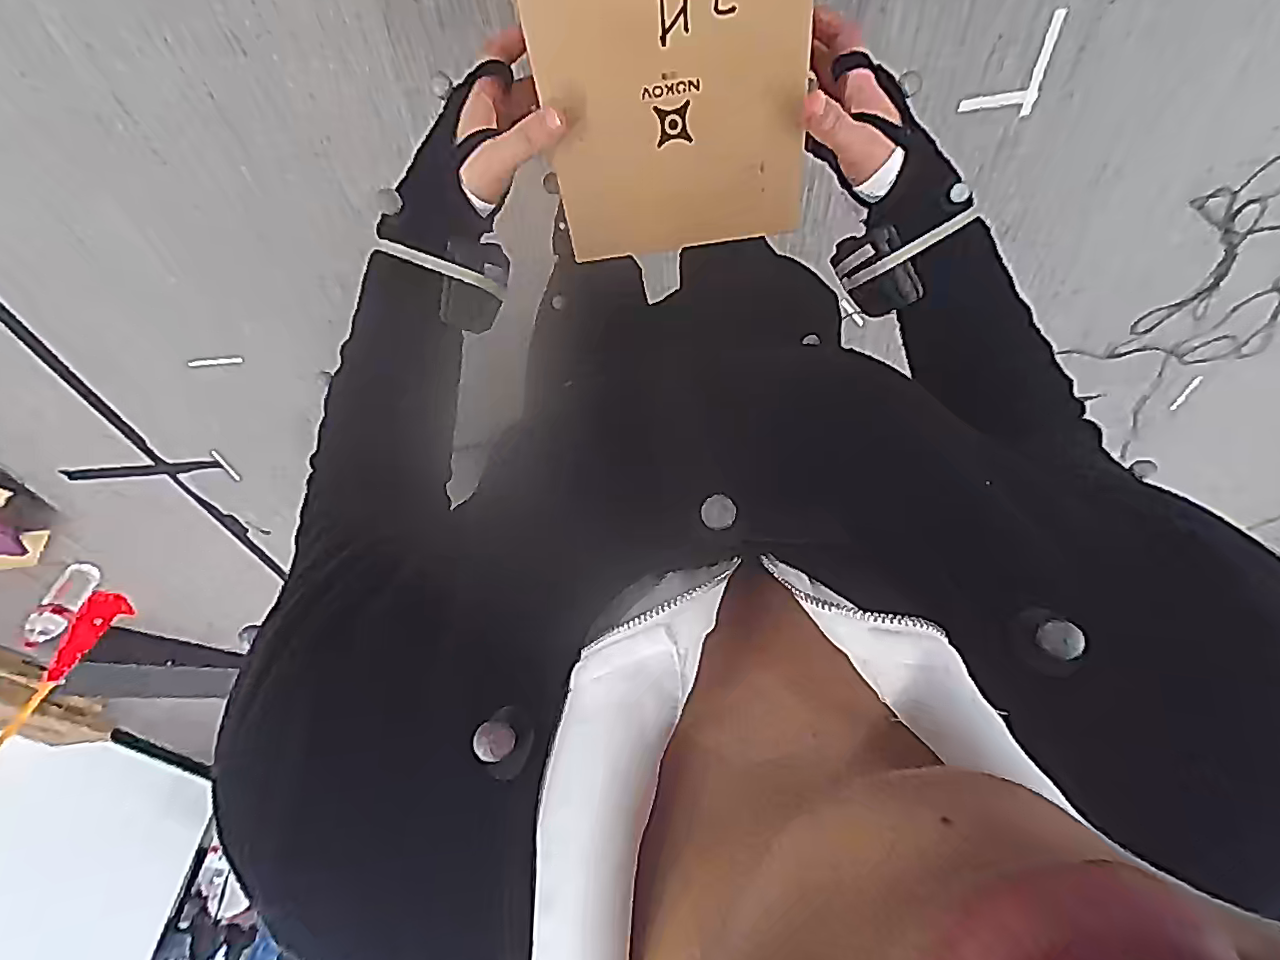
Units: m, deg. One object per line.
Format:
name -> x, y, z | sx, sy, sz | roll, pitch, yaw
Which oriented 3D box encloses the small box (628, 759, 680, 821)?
small box -> 0.050, 1.134, 1.983 | 0.179, 0.176, 0.168 | -3, 138, 0
